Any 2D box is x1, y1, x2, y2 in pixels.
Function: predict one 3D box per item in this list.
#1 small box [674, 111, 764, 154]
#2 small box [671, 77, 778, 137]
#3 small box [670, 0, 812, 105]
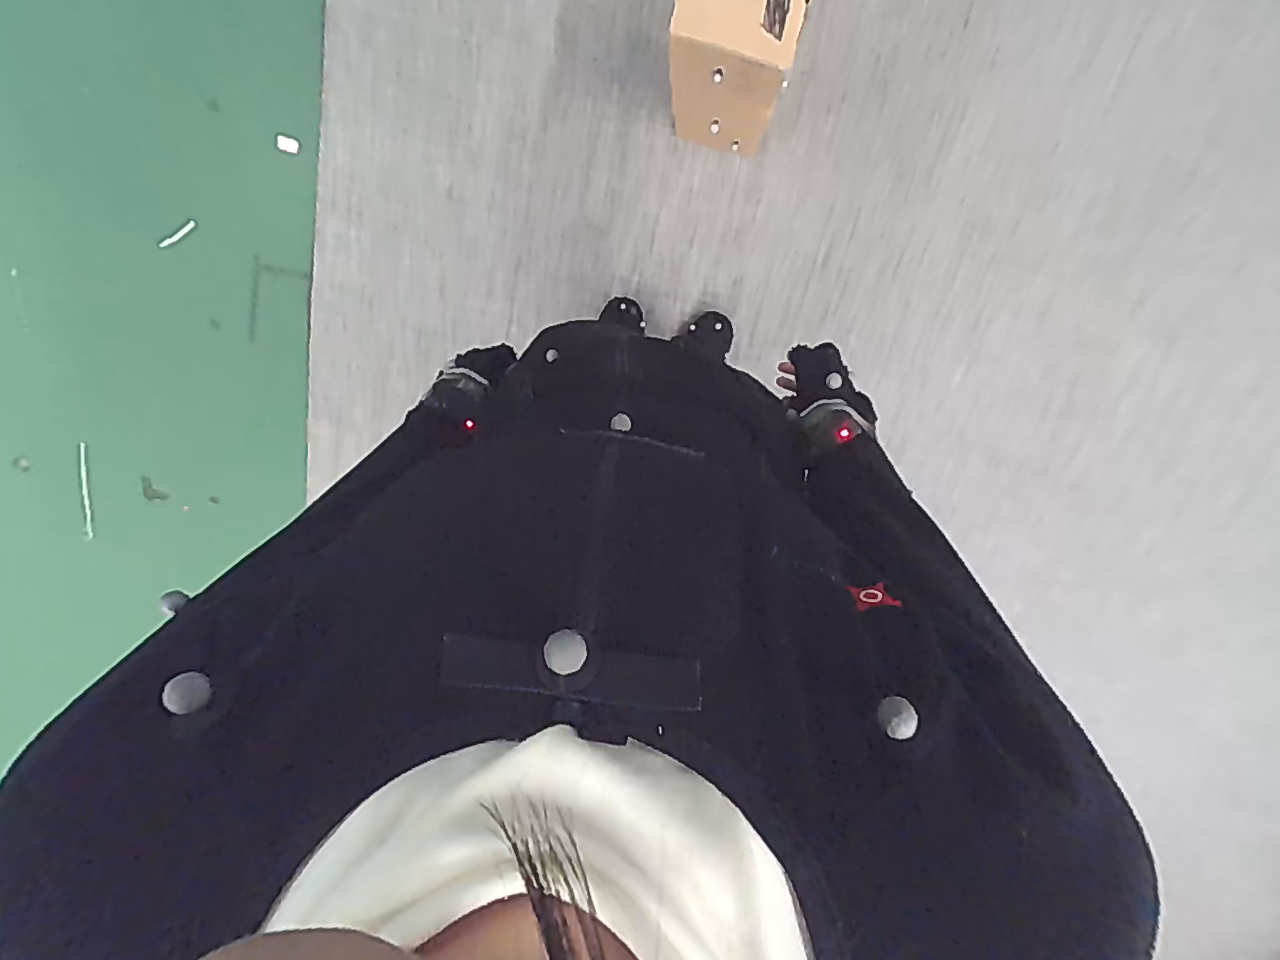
[{"bbox_3d":[0.176,-0.789,1.101,0.179,0.176,0.168,15,109,1],"label":"small box"},{"bbox_3d":[0.162,-0.732,0.948,0.179,0.176,0.168,18,109,-3],"label":"small box"},{"bbox_3d":[0.147,-0.681,0.792,0.179,0.176,0.168,13,109,-2],"label":"small box"}]
